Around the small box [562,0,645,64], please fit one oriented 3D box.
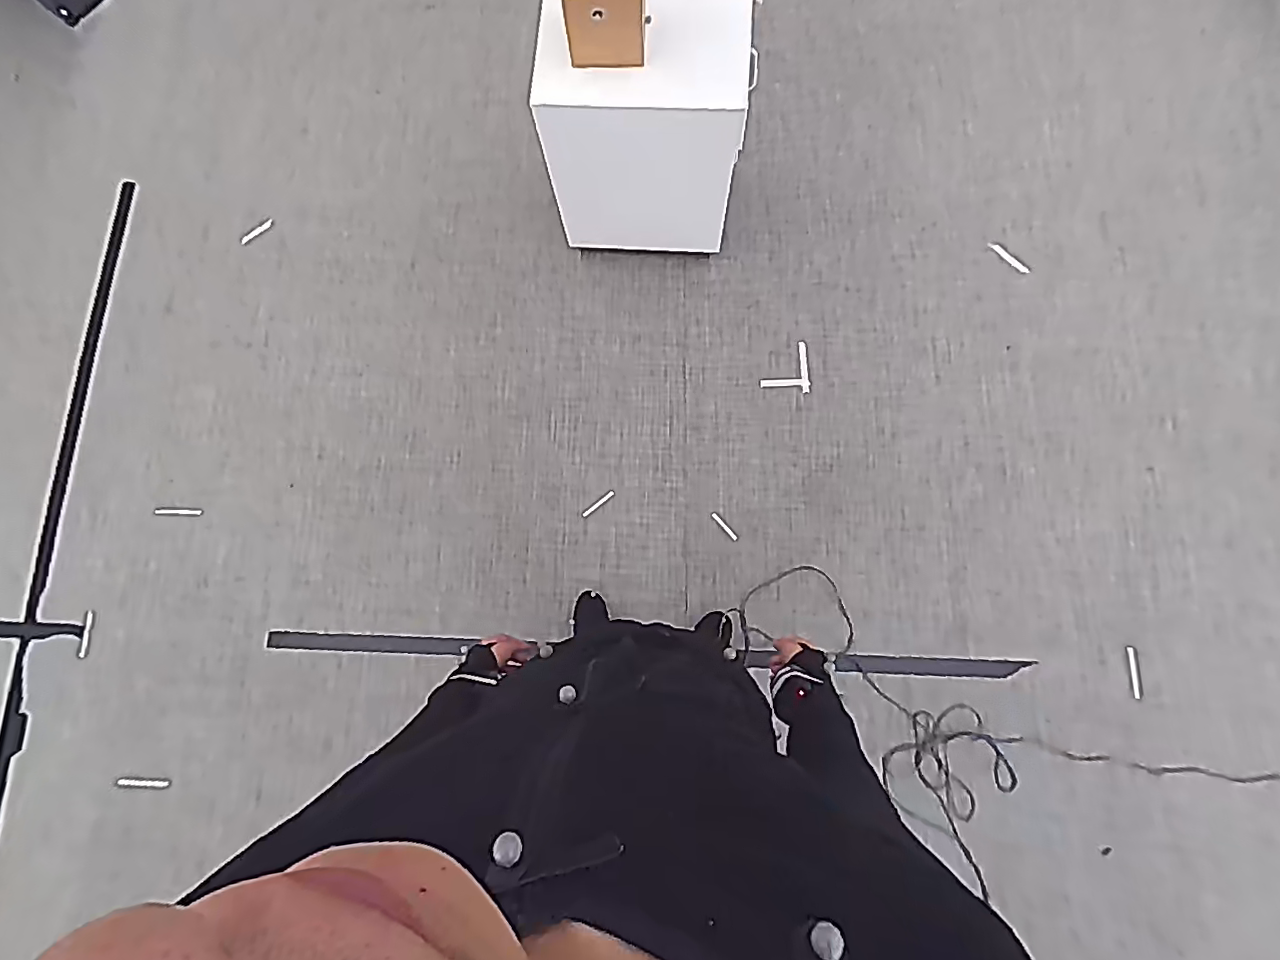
[{"bbox_3d":[-0.081,-1.090,1.230,0.179,0.176,0.168,1,79,1],"label":"small box"}]
